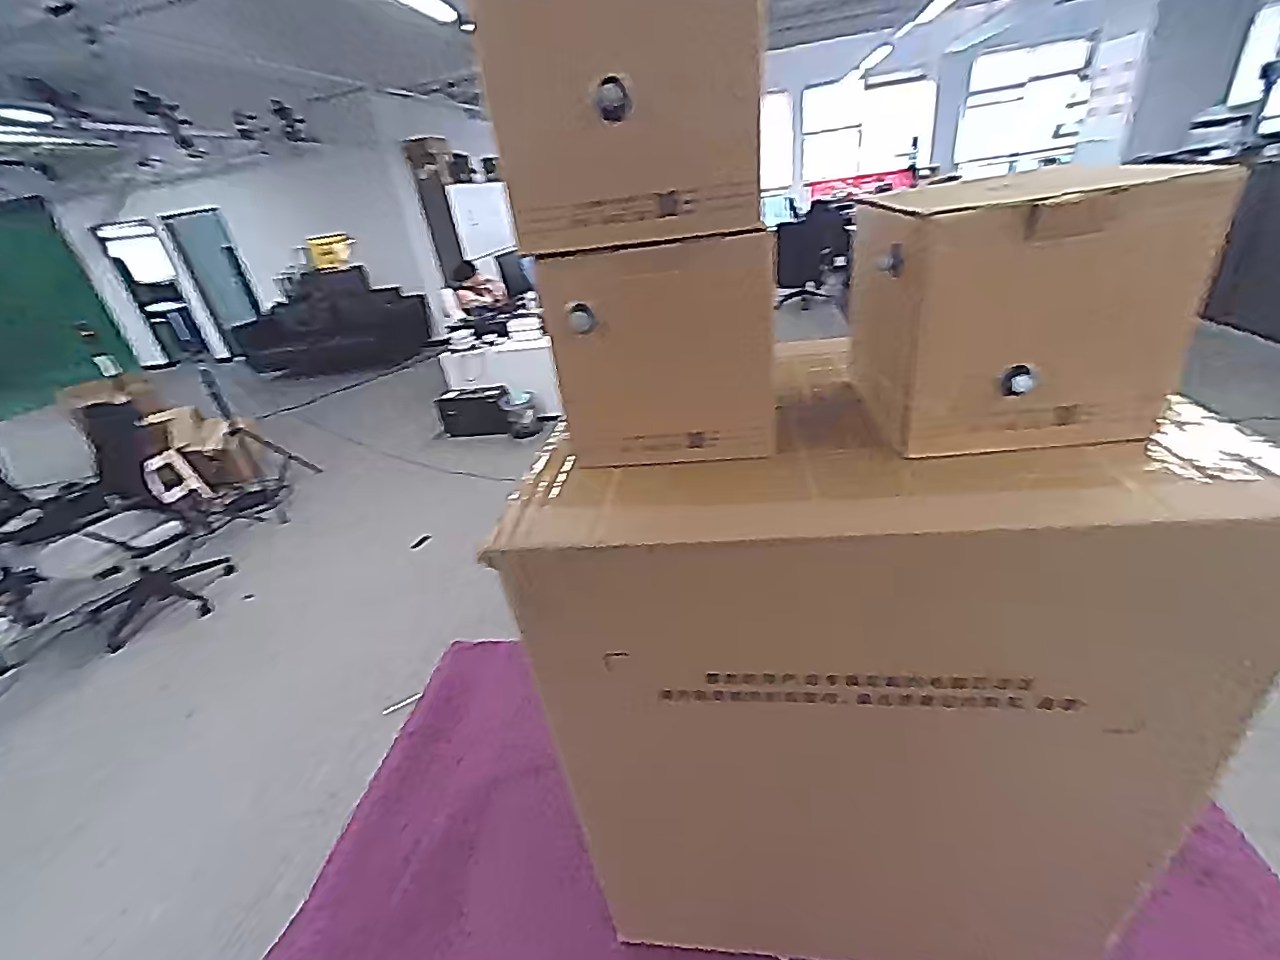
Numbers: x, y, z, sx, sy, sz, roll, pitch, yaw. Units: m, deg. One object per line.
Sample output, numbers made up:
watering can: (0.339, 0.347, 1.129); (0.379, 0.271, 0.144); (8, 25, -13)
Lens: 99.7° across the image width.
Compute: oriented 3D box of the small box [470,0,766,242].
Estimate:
small box: (-0.002, -0.272, 0.387); (0.168, 0.176, 0.179); (-3, 29, 7)

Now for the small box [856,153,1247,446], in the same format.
small box: (0.272, -0.140, 0.417); (0.168, 0.176, 0.179); (-5, 29, 9)
